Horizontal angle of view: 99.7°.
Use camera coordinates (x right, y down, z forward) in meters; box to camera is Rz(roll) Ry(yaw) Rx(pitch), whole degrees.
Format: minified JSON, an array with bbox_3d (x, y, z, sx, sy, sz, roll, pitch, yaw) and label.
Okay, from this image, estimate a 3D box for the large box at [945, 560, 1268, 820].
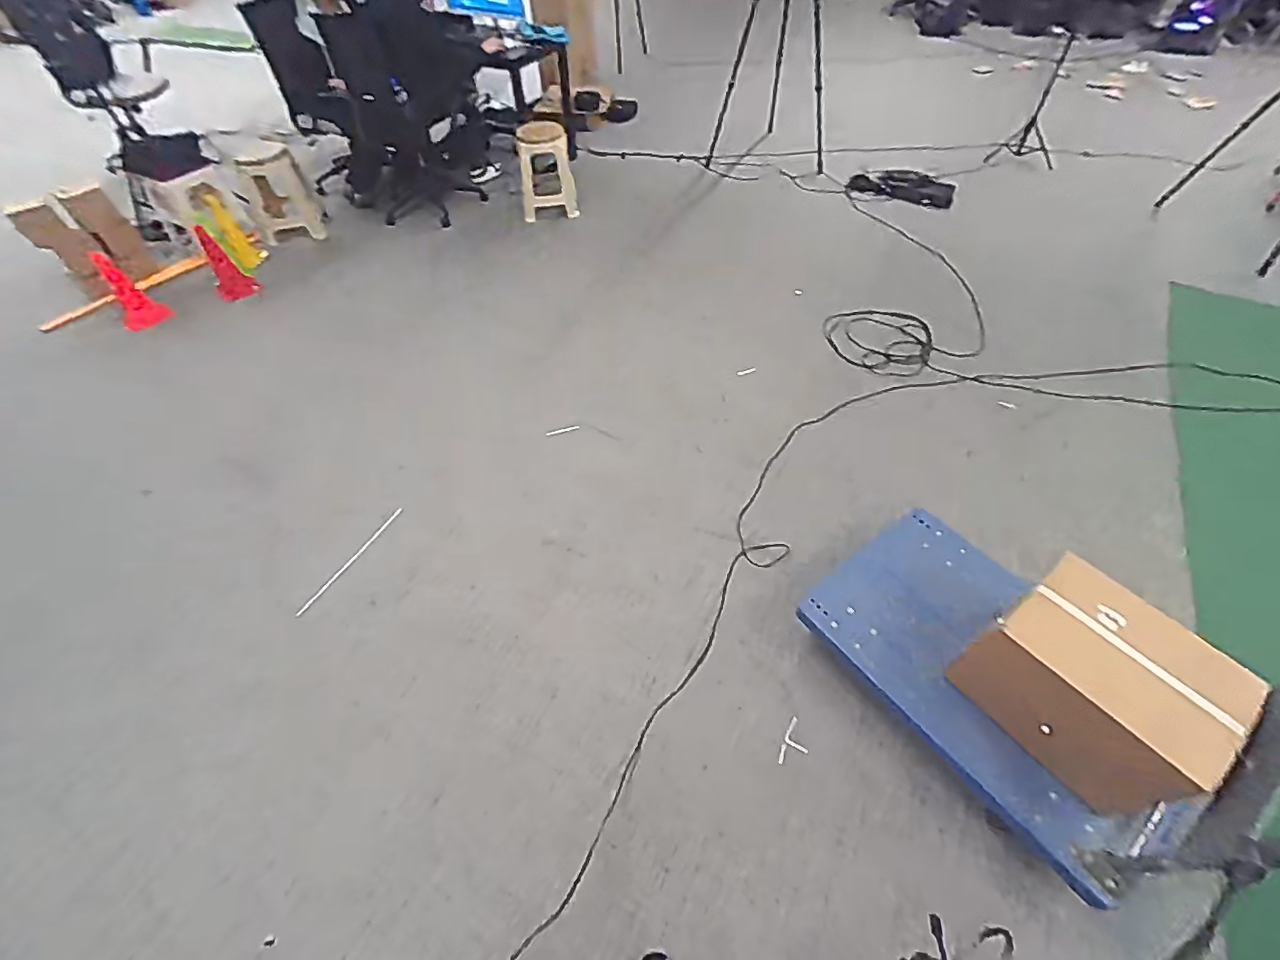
[{"bbox_3d":[1.015,0.471,1.232,0.320,0.320,0.408,-31,56,-22],"label":"large box"}]
